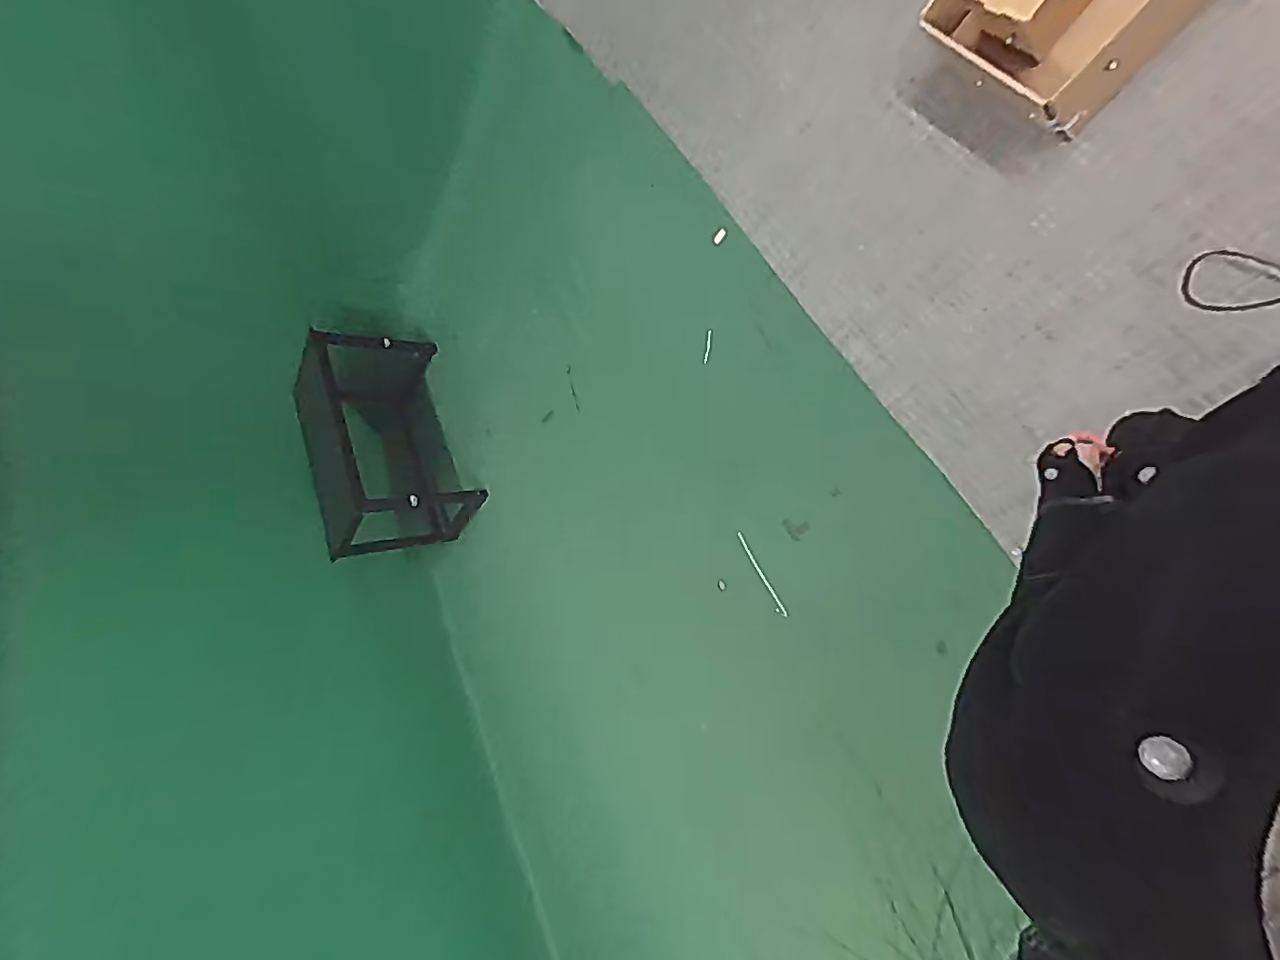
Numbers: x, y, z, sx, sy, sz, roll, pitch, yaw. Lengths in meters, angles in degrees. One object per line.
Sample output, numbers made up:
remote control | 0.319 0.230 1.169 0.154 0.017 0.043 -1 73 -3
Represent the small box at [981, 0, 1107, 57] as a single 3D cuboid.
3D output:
small box | 0.847 -1.019 1.103 0.168 0.176 0.179 57 129 26
